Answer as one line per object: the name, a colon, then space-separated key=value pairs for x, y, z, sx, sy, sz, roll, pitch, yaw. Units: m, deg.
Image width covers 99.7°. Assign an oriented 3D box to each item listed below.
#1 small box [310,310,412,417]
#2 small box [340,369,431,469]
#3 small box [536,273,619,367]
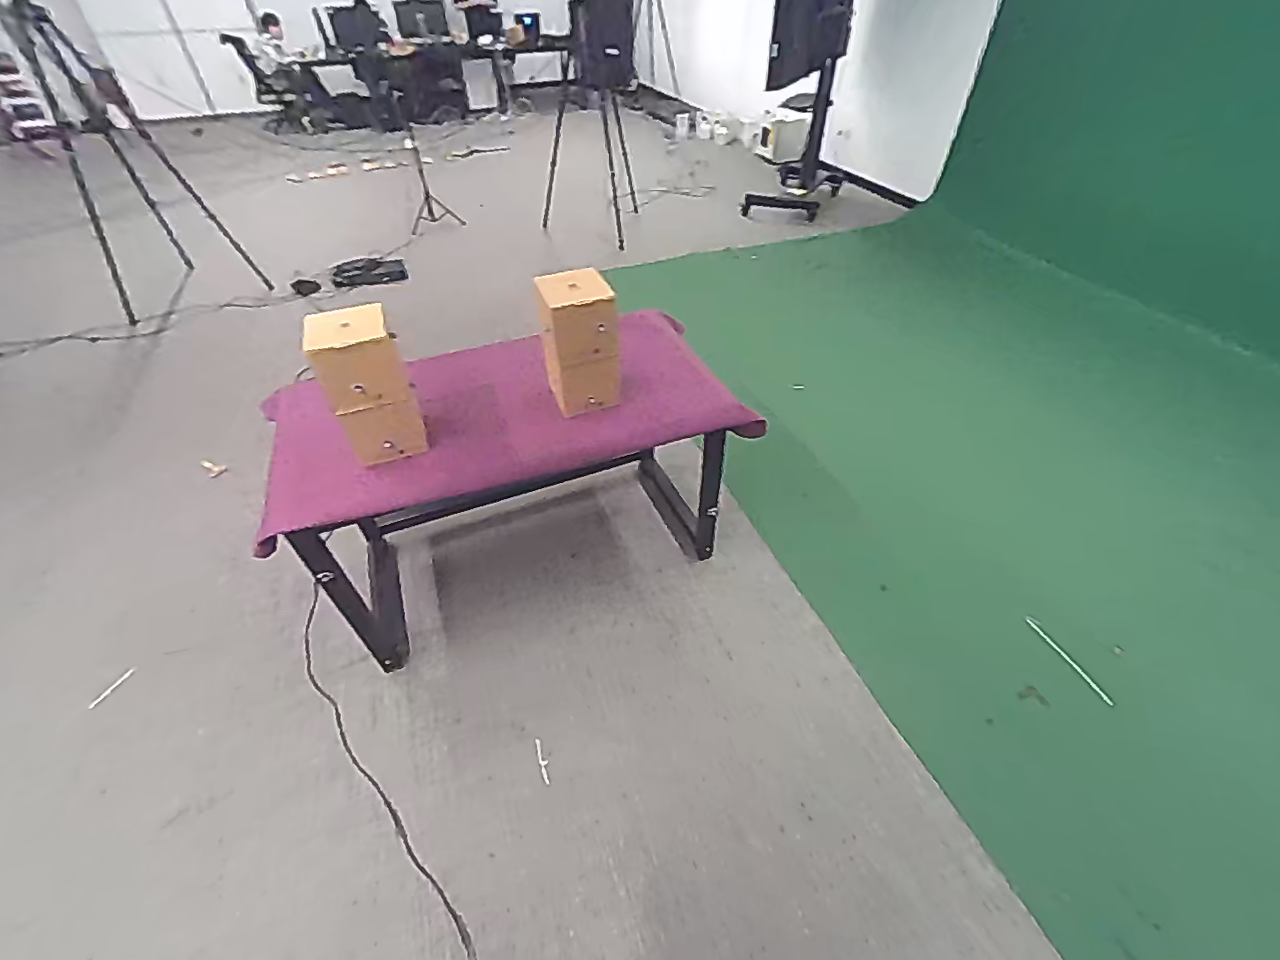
small box: x=-0.651 y=-0.273 z=1.271 sx=0.168 sy=0.176 sz=0.179 roll=-17 pitch=47 yaw=-16
small box: x=-0.648 y=-0.155 z=1.382 sx=0.168 sy=0.176 sz=0.179 roll=-16 pitch=46 yaw=-15
small box: x=-0.158 y=-0.406 z=1.394 sx=0.168 sy=0.176 sz=0.179 roll=-16 pitch=46 yaw=-15
